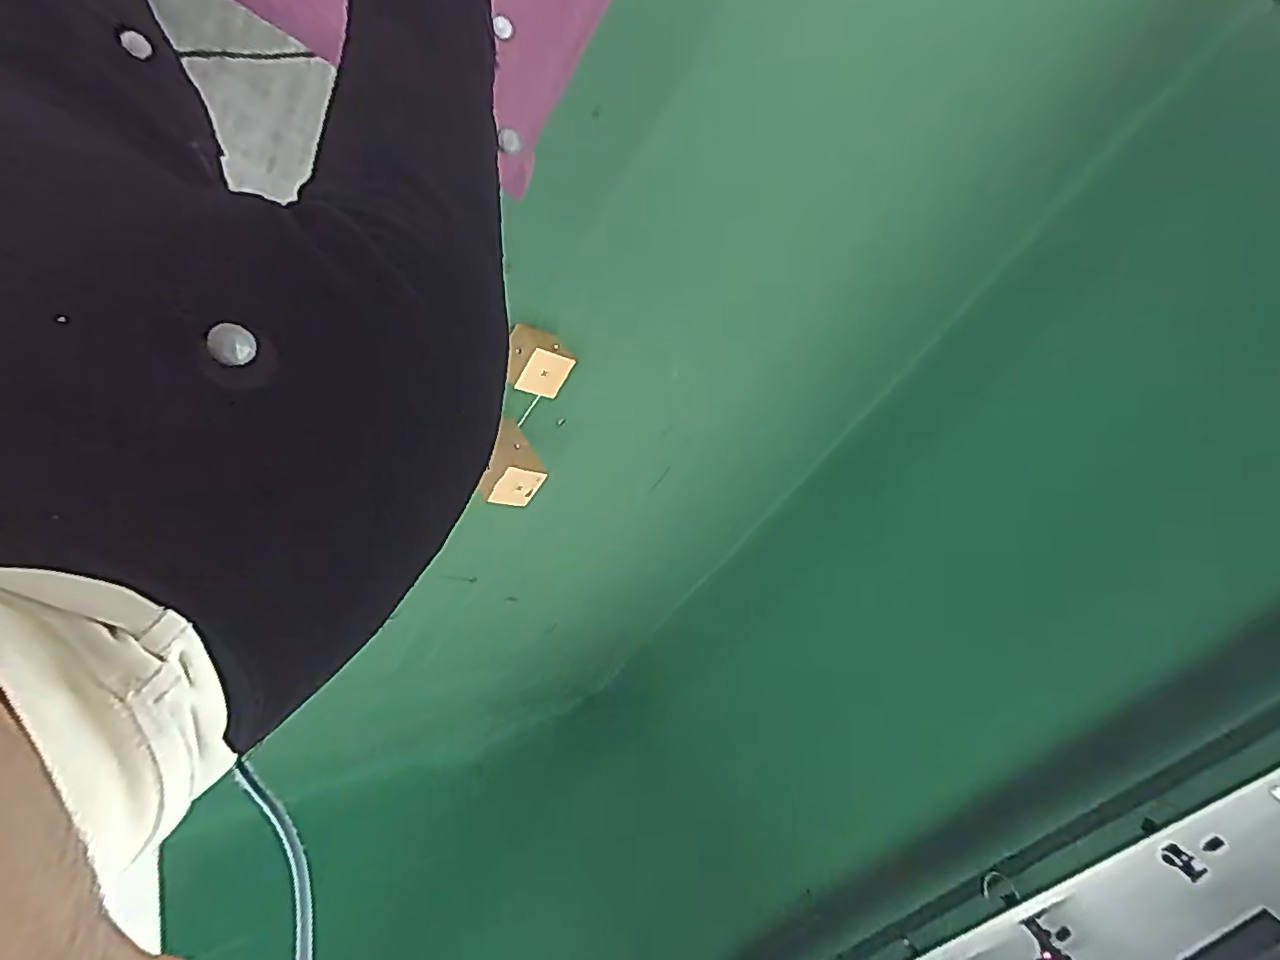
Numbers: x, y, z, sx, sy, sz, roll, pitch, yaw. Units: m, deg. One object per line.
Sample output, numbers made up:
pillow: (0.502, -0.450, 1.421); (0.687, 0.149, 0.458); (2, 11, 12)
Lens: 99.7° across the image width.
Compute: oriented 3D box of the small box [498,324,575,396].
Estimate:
small box: (-0.367, -0.421, 1.886); (0.179, 0.176, 0.168); (7, 127, -49)

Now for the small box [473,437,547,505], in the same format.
small box: (-0.474, -0.035, 1.956); (0.179, 0.176, 0.168); (14, 123, -49)
